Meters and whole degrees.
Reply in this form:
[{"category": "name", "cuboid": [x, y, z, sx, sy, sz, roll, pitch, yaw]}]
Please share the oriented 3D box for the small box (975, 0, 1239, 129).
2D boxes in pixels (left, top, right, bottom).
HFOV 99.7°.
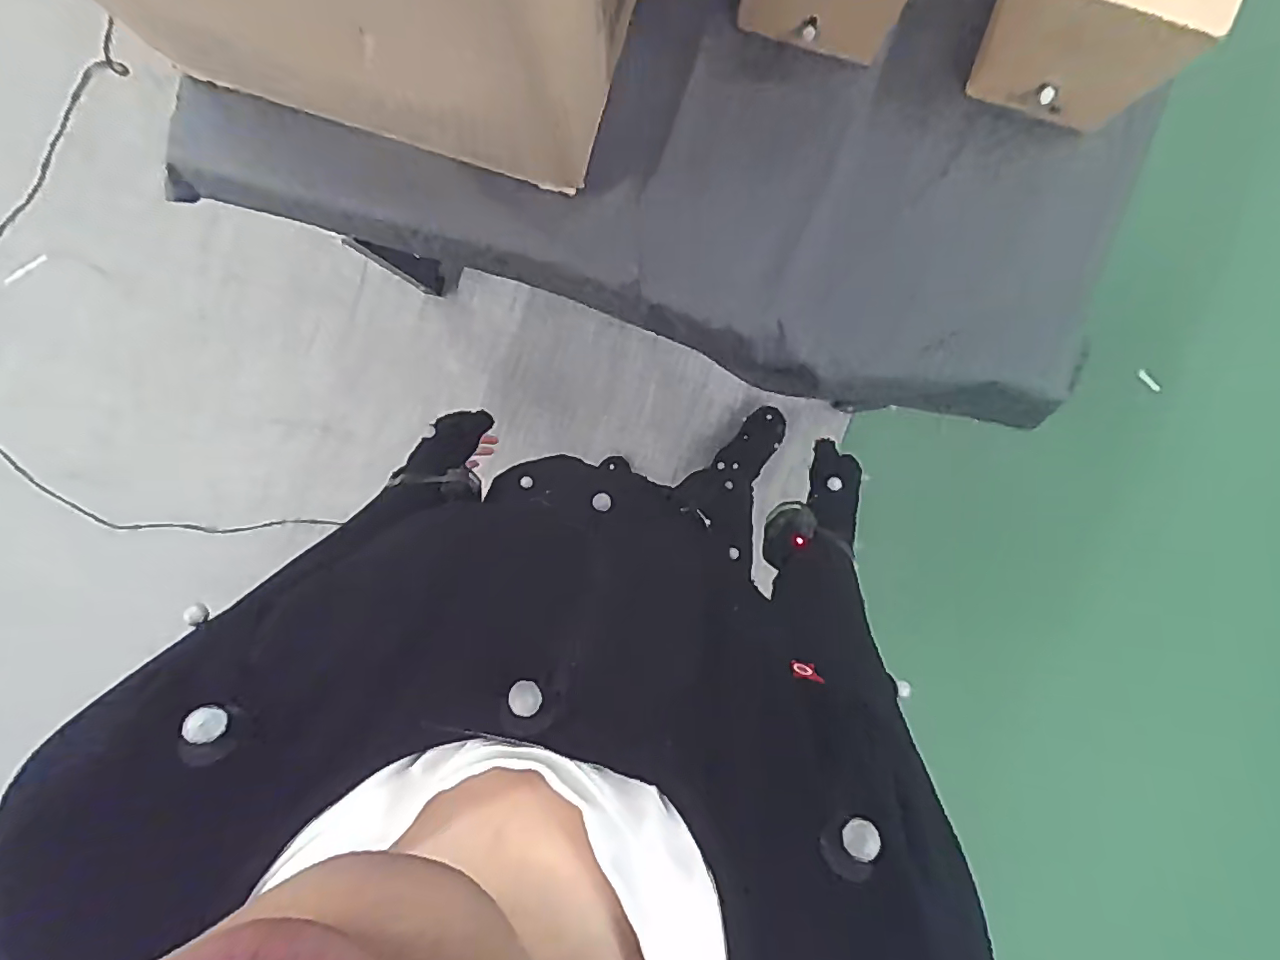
[{"category": "small box", "cuboid": [0.510, -0.536, 0.589, 0.168, 0.176, 0.179, 19, 96, 0]}]
